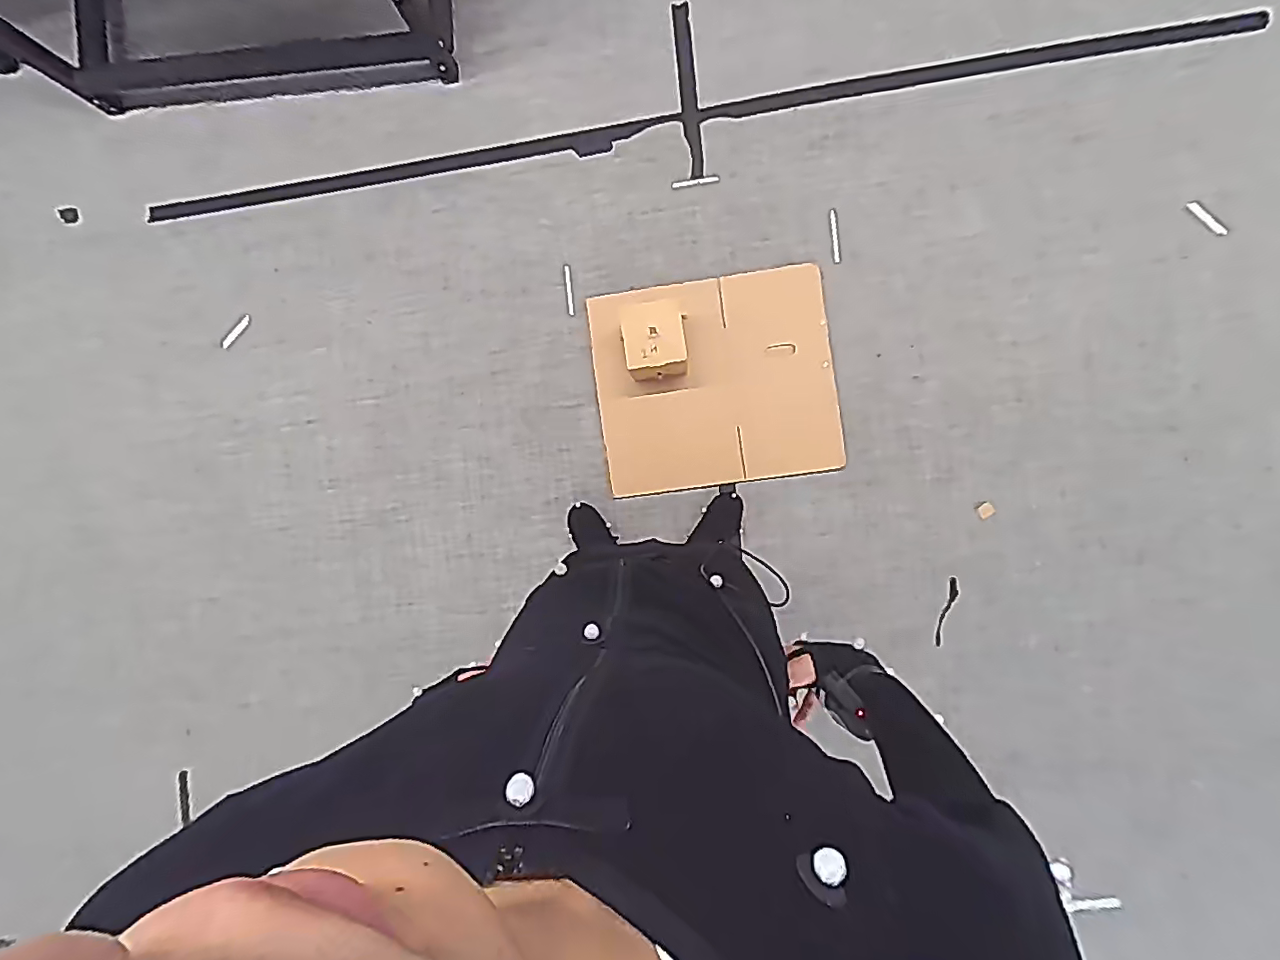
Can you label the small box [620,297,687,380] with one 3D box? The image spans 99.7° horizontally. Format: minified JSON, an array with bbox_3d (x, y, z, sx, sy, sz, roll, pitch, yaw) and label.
[{"bbox_3d":[0.040,-0.394,1.529,0.168,0.176,0.179,-8,90,5],"label":"small box"}]
